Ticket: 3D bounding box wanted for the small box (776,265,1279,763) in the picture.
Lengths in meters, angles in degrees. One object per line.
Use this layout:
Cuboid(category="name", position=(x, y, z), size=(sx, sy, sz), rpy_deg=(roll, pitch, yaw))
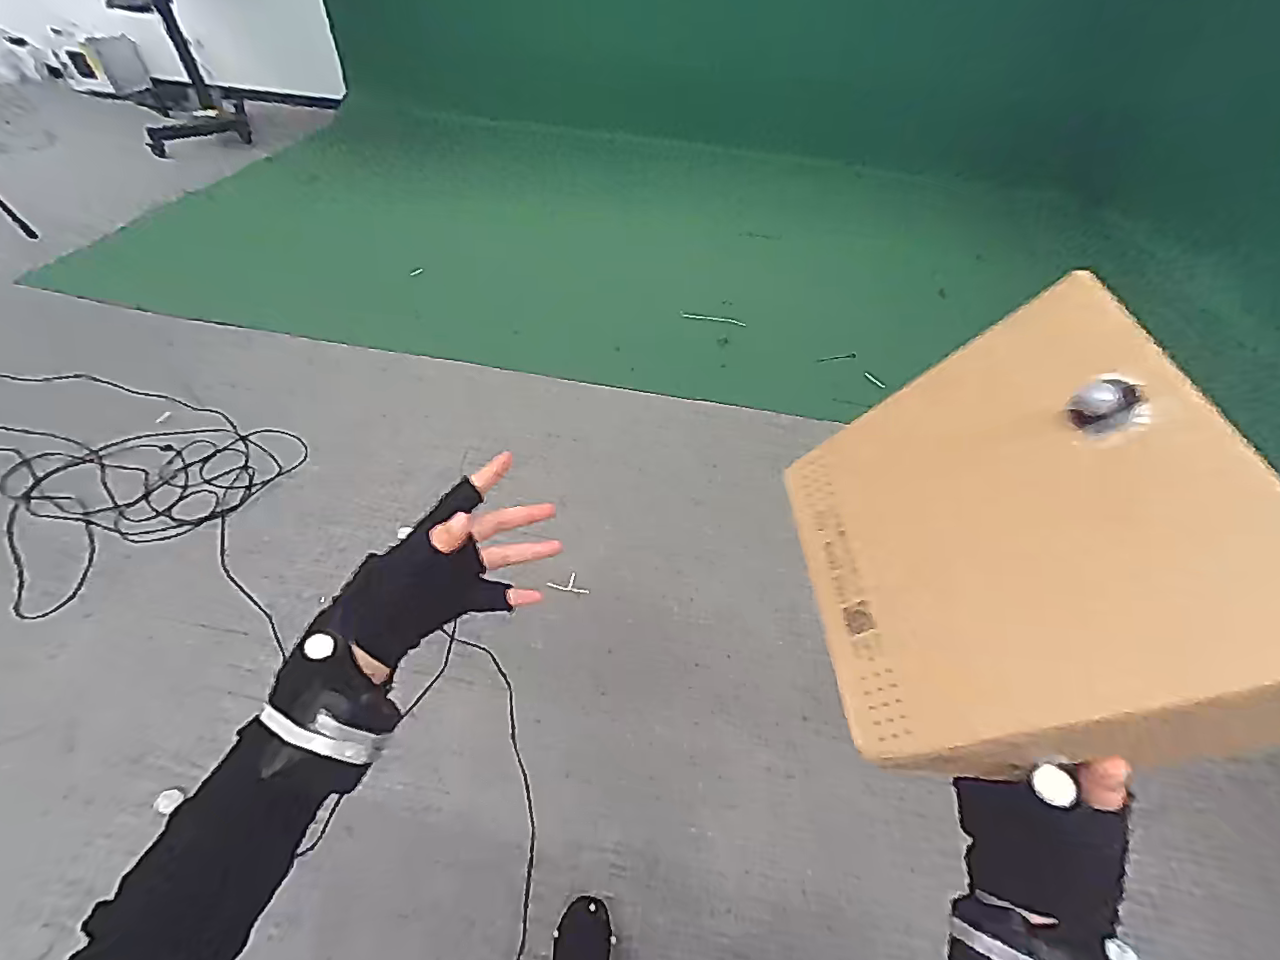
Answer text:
Cuboid(category="small box", position=(0.200, 0.039, 0.278), size=(0.179, 0.176, 0.168), rpy_deg=(22, 46, -31))
